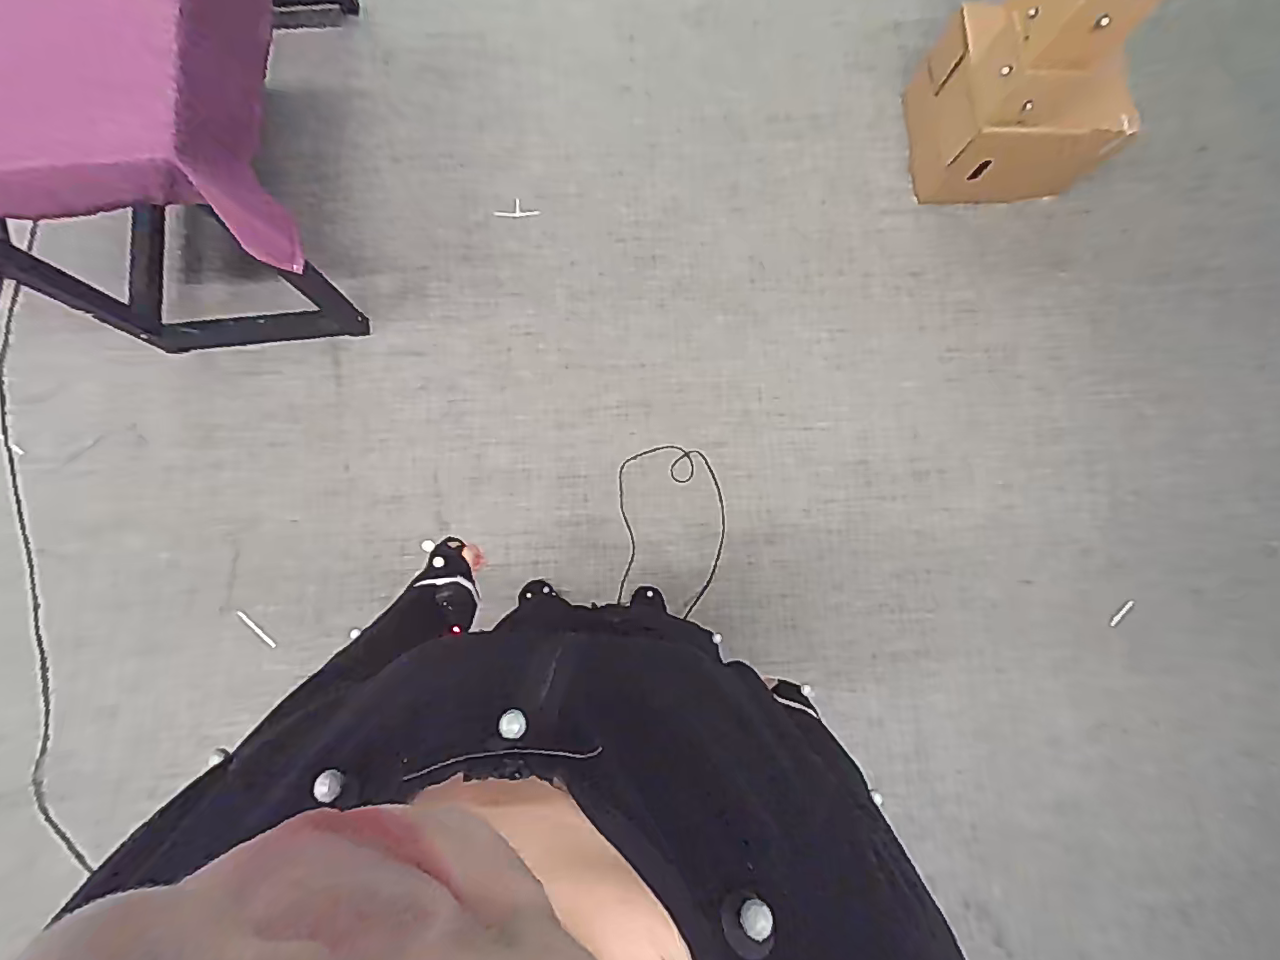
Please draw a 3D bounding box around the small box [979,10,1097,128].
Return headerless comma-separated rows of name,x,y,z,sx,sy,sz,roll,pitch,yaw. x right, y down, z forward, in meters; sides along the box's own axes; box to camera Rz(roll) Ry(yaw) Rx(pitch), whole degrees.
small box,0.986,-1.019,1.353,0.168,0.176,0.179,-1,82,-4
